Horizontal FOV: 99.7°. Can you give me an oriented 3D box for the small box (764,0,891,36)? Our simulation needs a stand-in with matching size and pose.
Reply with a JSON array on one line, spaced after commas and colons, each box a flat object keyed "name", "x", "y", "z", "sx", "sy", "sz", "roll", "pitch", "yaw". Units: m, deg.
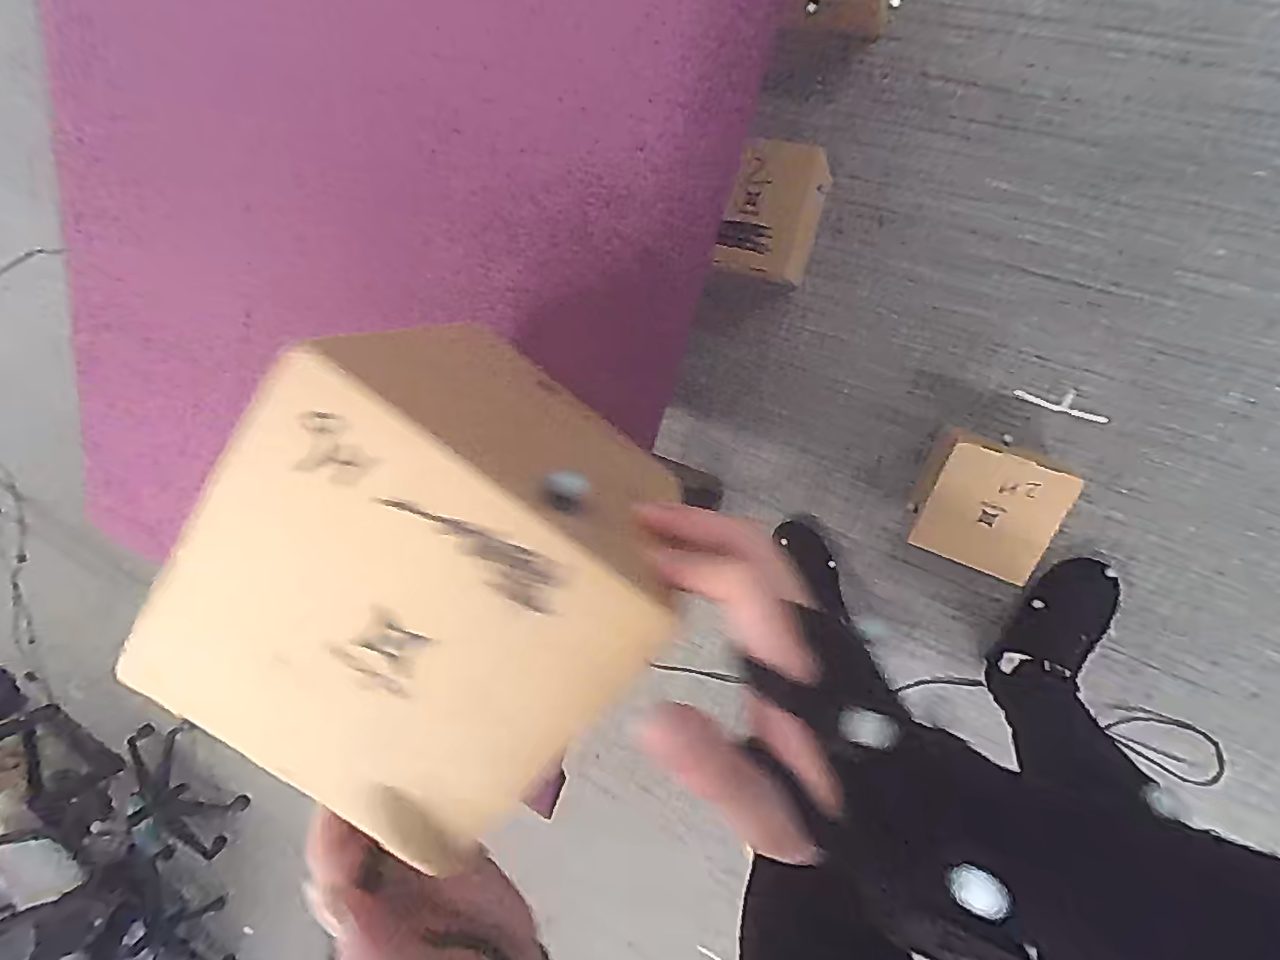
[{"name": "small box", "x": 0.279, "y": -0.759, "z": 0.754, "sx": 0.179, "sy": 0.176, "sz": 0.168, "roll": 20, "pitch": 109, "yaw": 18}]
